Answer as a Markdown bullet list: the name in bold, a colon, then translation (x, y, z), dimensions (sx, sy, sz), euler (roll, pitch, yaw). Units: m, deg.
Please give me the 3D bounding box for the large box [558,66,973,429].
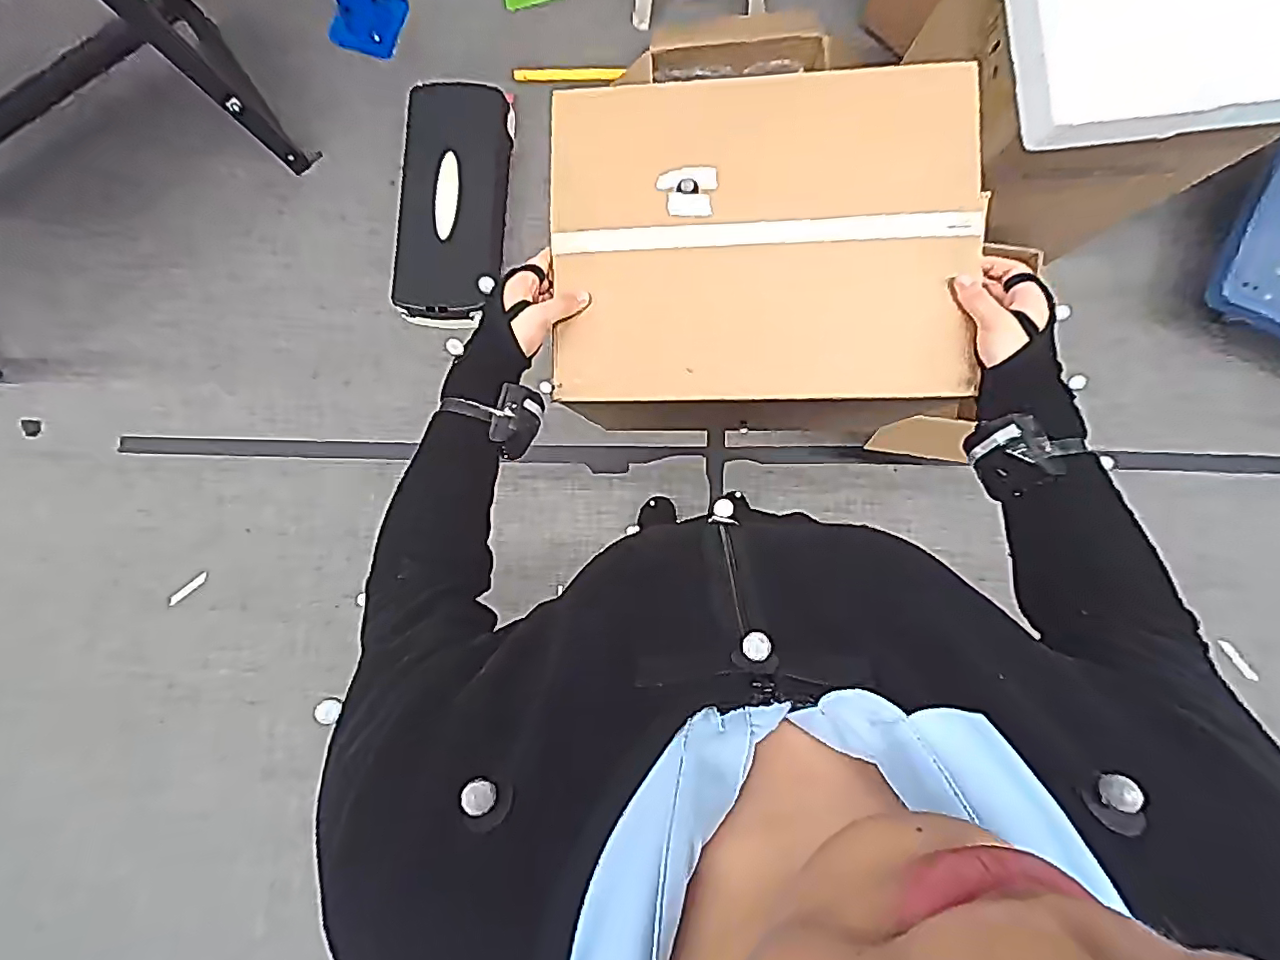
- **large box**: translation (0.134, -0.234, 0.679), dimensions (0.408, 0.320, 0.320), euler (0, 88, 7)
